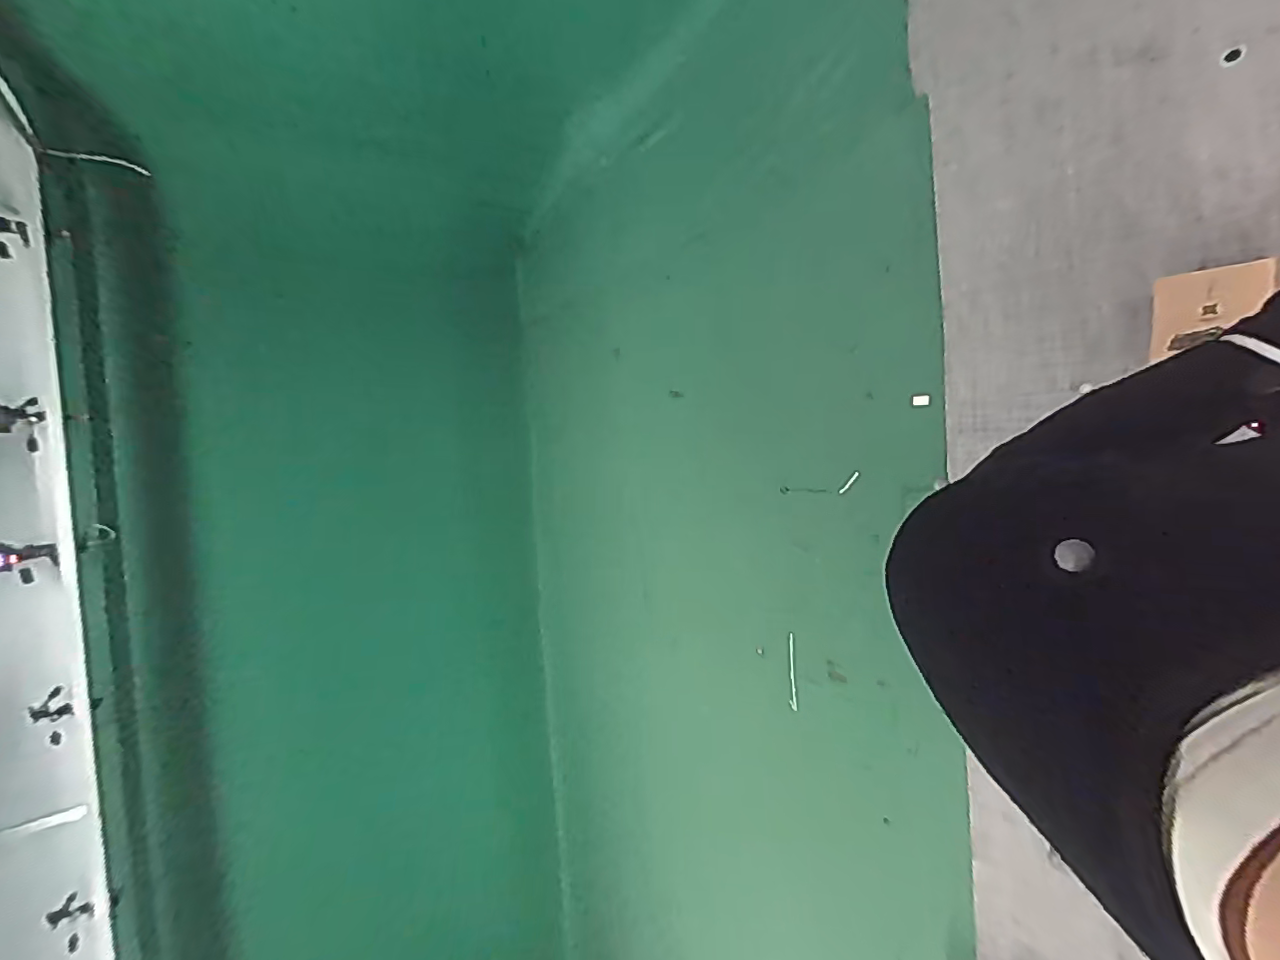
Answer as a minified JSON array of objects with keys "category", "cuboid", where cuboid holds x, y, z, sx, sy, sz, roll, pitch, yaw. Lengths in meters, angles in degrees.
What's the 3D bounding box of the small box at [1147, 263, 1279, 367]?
[{"category":"small box","cuboid":[1.184,-0.328,1.115,0.168,0.176,0.179,7,99,54]}]
